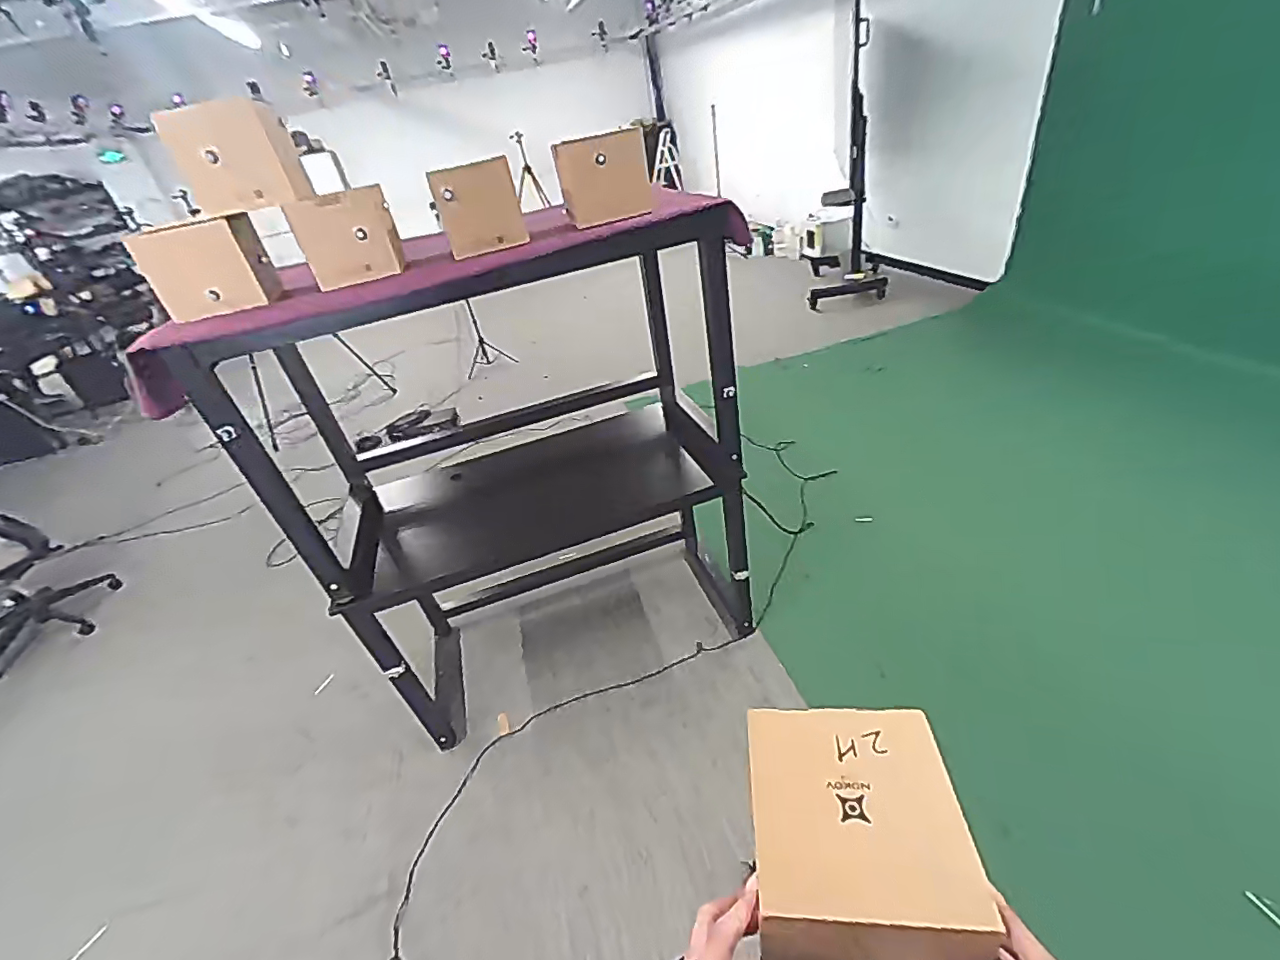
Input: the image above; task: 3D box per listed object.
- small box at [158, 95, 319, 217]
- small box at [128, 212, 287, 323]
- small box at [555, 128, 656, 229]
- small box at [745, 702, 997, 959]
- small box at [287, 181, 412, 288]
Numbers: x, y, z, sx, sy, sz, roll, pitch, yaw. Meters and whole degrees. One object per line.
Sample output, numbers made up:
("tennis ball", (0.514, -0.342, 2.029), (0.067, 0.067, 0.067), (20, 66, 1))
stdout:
("small box", (-0.751, -0.615, 1.039), (0.168, 0.176, 0.179), (-17, 33, -9))
("small box", (-0.857, -0.437, 1.098), (0.179, 0.176, 0.168), (-18, 34, -11))
("small box", (-0.079, -0.682, 1.229), (0.179, 0.176, 0.168), (-17, 33, -8))
("small box", (0.185, 0.328, 0.487), (0.168, 0.176, 0.179), (-4, 29, 9))
("small box", (-0.600, -0.518, 1.145), (0.168, 0.176, 0.179), (-16, 33, -7))
